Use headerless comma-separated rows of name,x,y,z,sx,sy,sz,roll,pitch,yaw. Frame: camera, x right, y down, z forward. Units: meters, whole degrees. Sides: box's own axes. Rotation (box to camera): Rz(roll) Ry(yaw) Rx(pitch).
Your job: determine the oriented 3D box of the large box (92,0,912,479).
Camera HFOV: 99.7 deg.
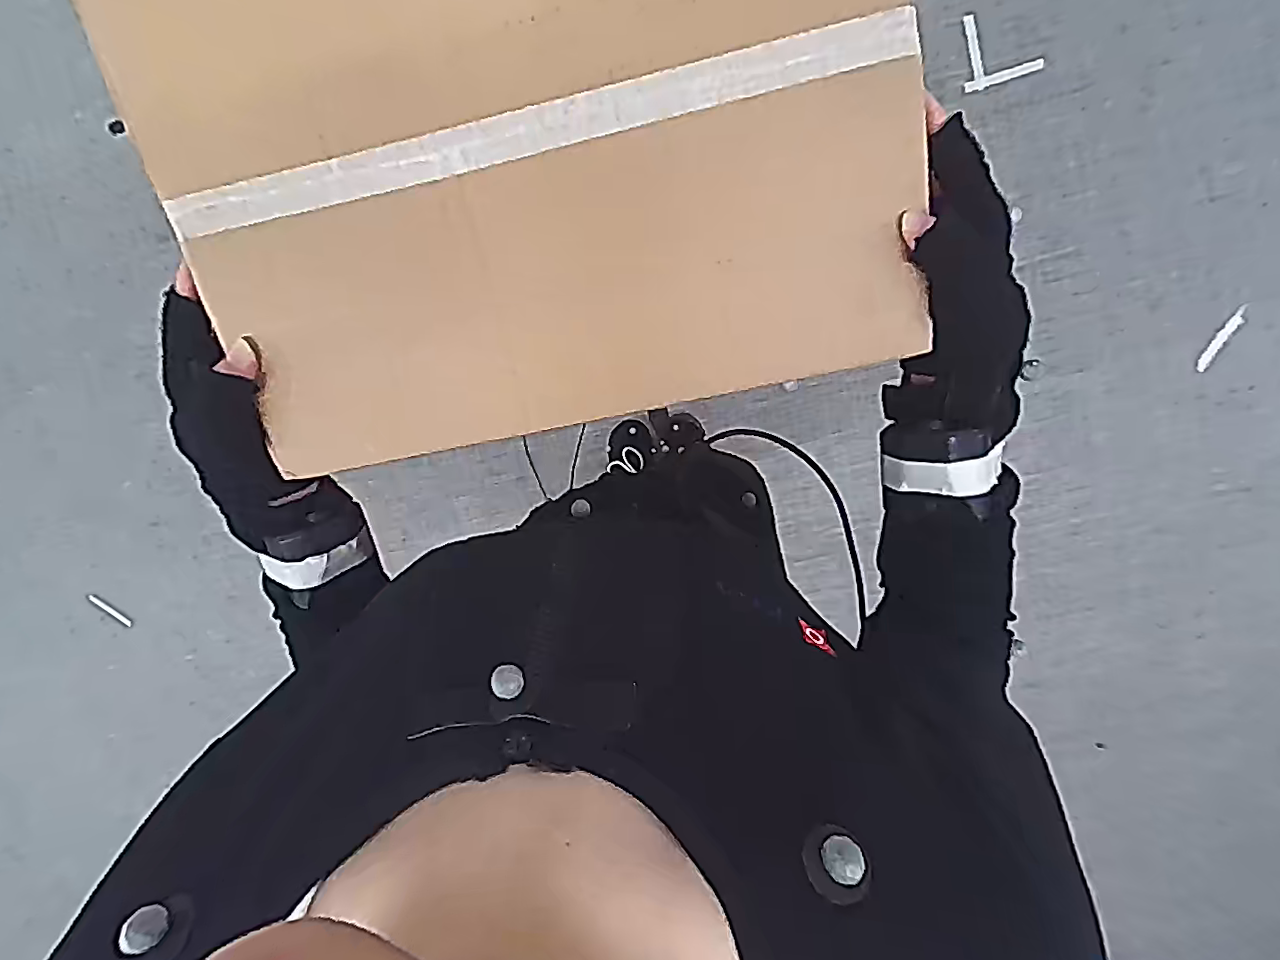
large box,-0.058,-0.229,0.435,0.408,0.320,0.320,-11,107,6
